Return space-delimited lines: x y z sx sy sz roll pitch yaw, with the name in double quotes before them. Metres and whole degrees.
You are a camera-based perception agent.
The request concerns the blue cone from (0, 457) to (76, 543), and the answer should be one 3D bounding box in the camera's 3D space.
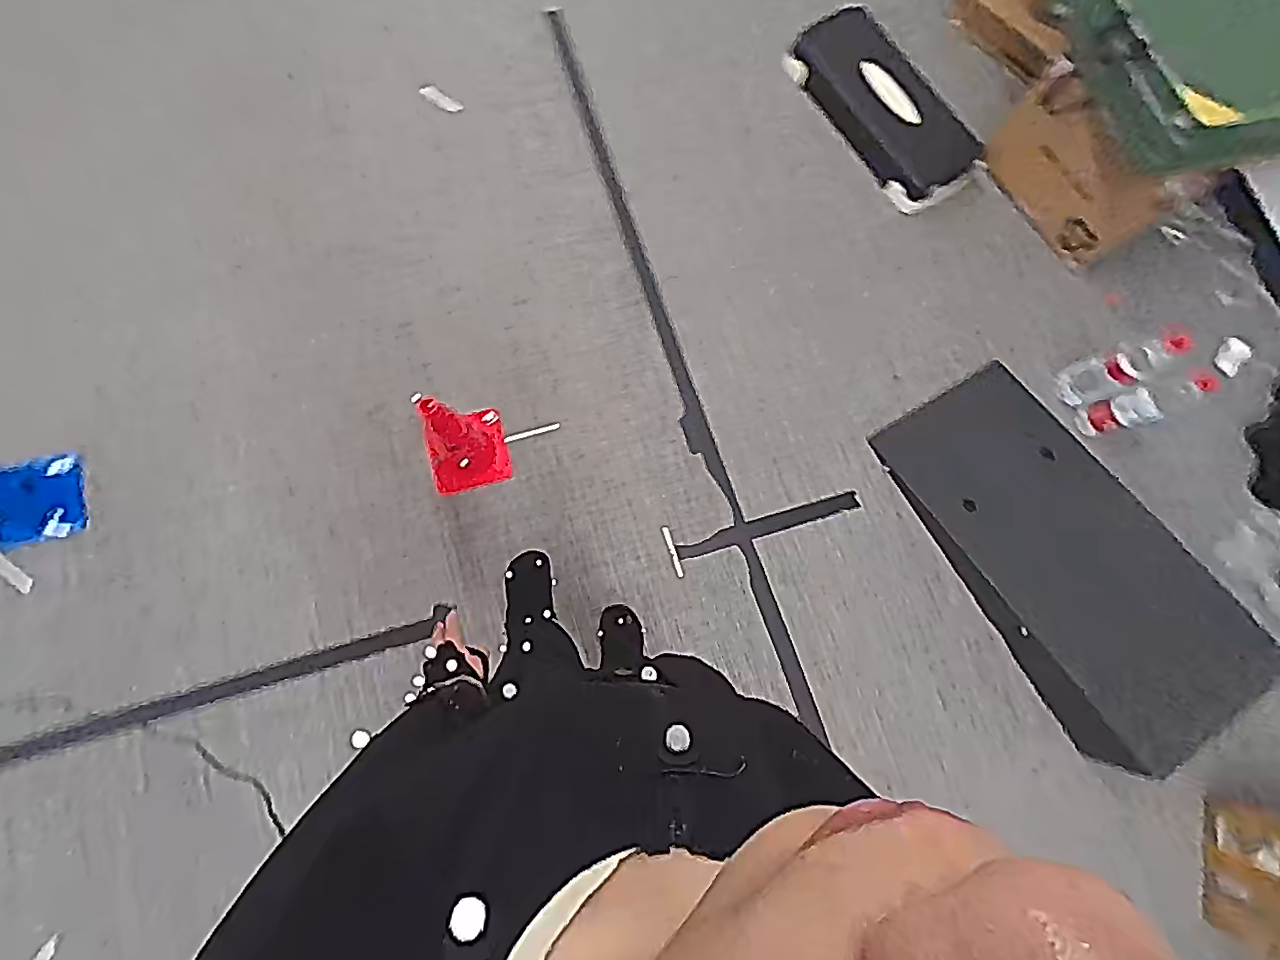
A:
"blue cone" -1.458 0.011 1.148 0.192 0.380 0.193 -13 79 -7
